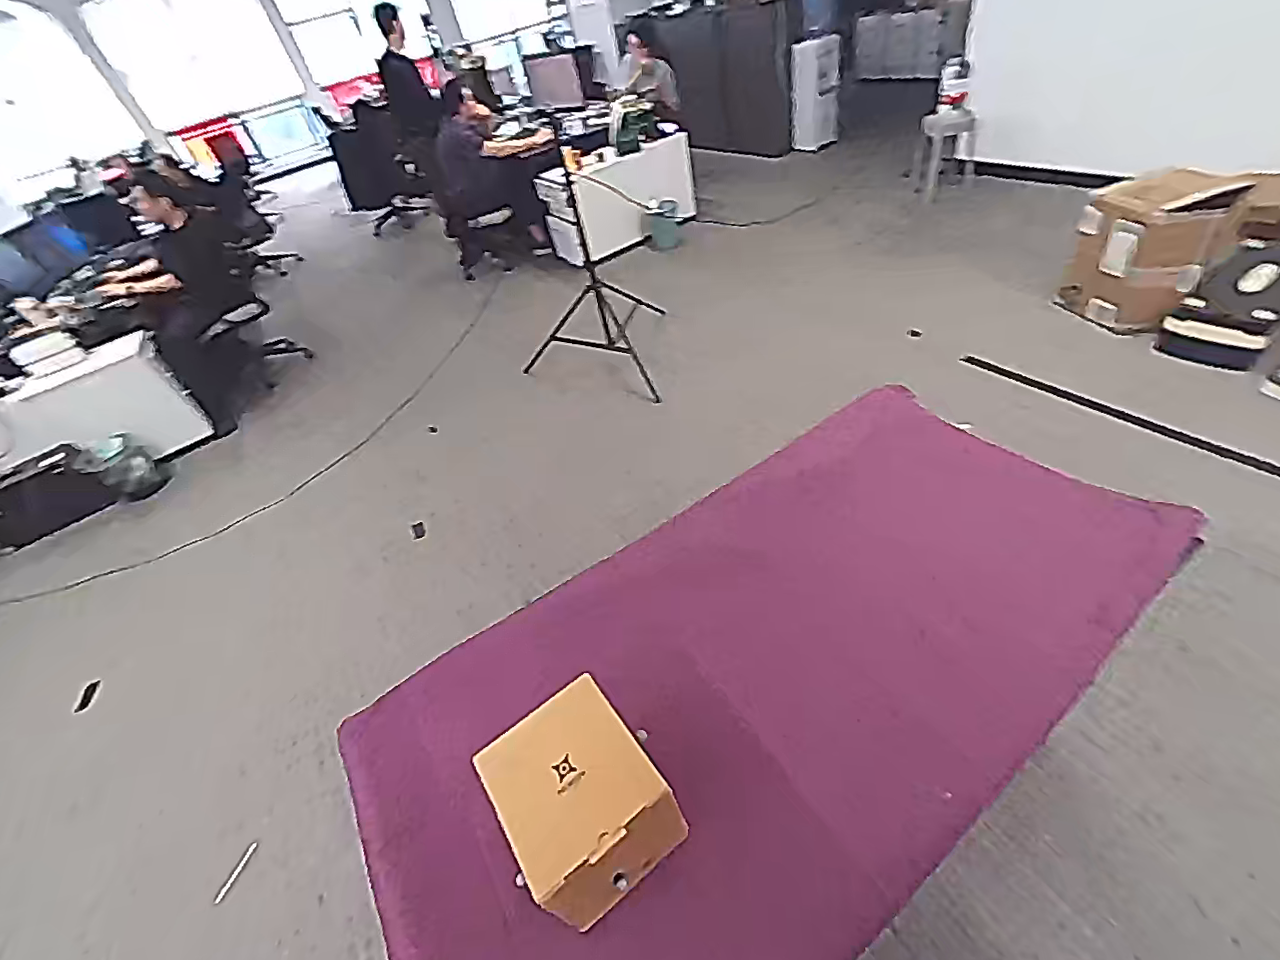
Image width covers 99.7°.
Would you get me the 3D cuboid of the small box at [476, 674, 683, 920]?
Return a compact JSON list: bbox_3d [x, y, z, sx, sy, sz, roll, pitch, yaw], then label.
[{"bbox_3d":[-0.068,0.384,0.659,0.168,0.176,0.179,-33,46,-20],"label":"small box"}]
